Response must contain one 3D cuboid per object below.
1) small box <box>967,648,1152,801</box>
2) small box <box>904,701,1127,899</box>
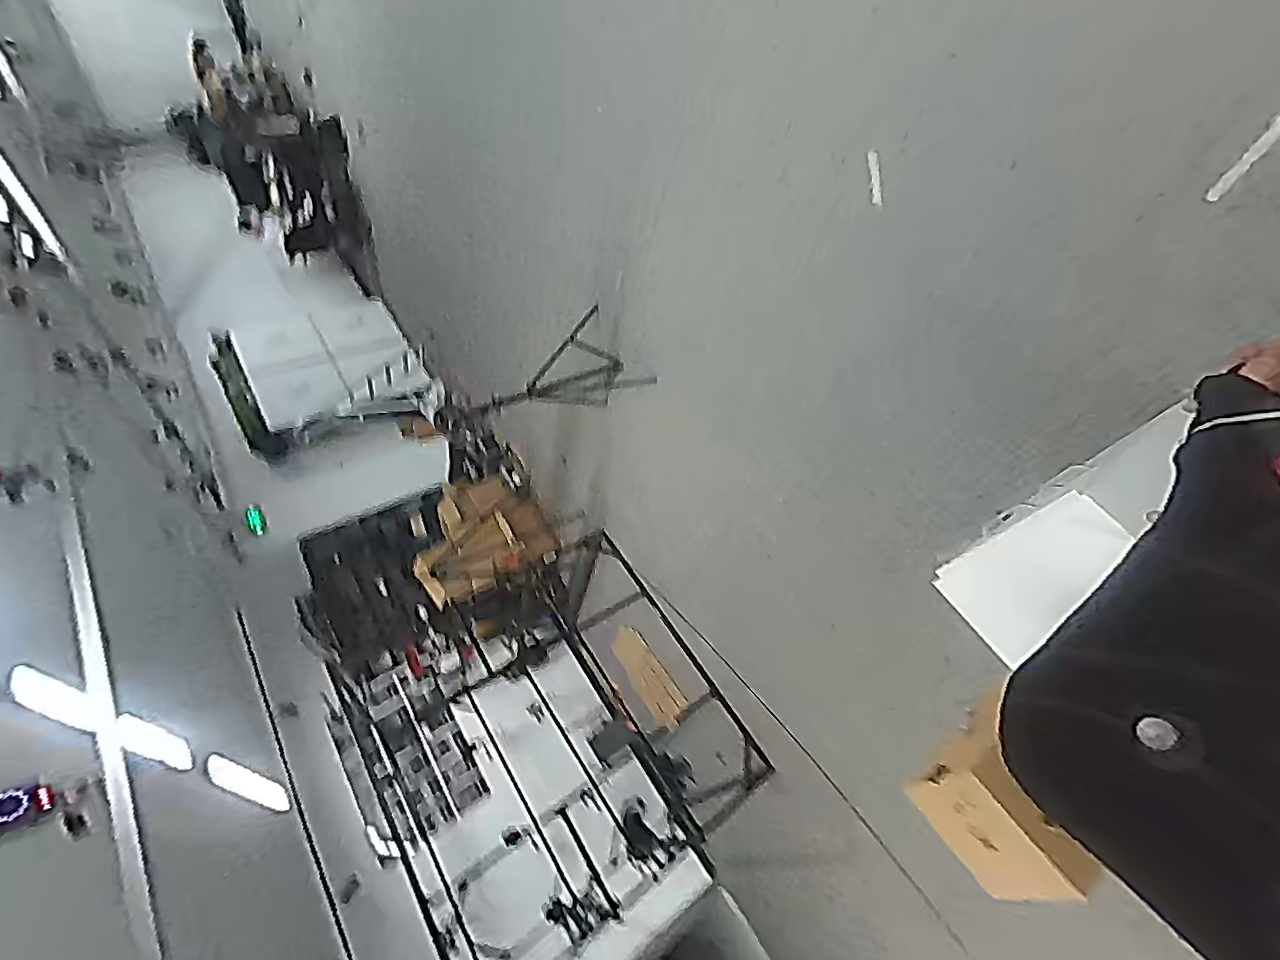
[{"bbox_3d":[0.667,0.404,0.875,0.168,0.176,0.179,50,149,26],"label":"small box"},{"bbox_3d":[0.539,0.459,0.785,0.179,0.176,0.168,51,148,24],"label":"small box"}]
